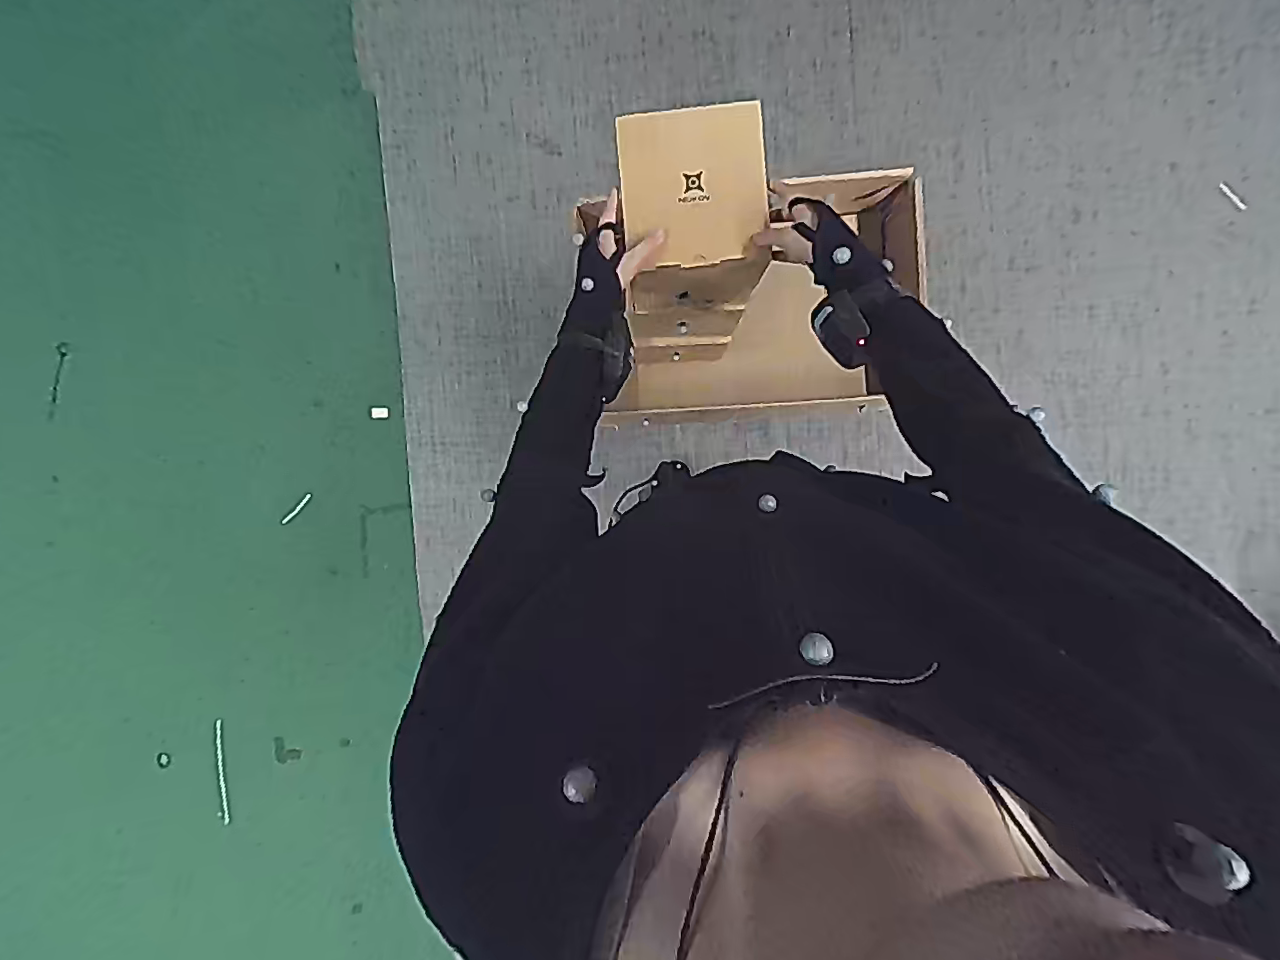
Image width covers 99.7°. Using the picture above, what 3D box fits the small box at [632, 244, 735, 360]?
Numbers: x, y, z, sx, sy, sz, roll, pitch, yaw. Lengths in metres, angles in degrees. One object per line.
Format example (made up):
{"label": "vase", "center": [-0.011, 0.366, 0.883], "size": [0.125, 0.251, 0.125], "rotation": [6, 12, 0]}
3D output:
{"label": "small box", "center": [0.076, -0.323, 1.006], "size": [0.179, 0.176, 0.168], "rotation": [-2, 91, 3]}
